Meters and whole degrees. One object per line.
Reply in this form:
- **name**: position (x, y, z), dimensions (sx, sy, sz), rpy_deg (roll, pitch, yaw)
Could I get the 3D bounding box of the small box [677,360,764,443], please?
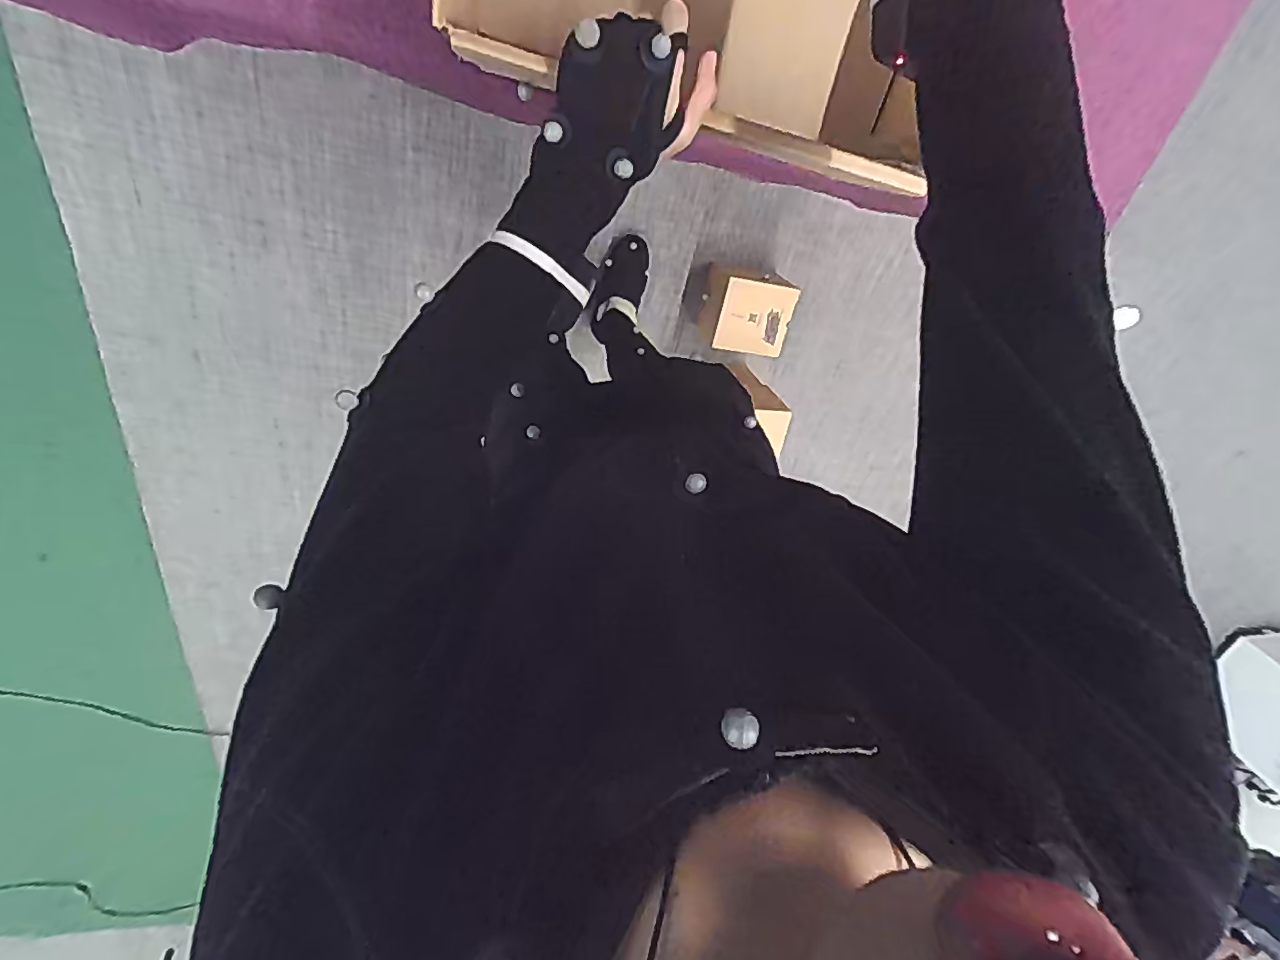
- **small box**: position (0.204, -0.213, 1.449), dimensions (0.179, 0.176, 0.168), rpy_deg (2, 122, -11)
